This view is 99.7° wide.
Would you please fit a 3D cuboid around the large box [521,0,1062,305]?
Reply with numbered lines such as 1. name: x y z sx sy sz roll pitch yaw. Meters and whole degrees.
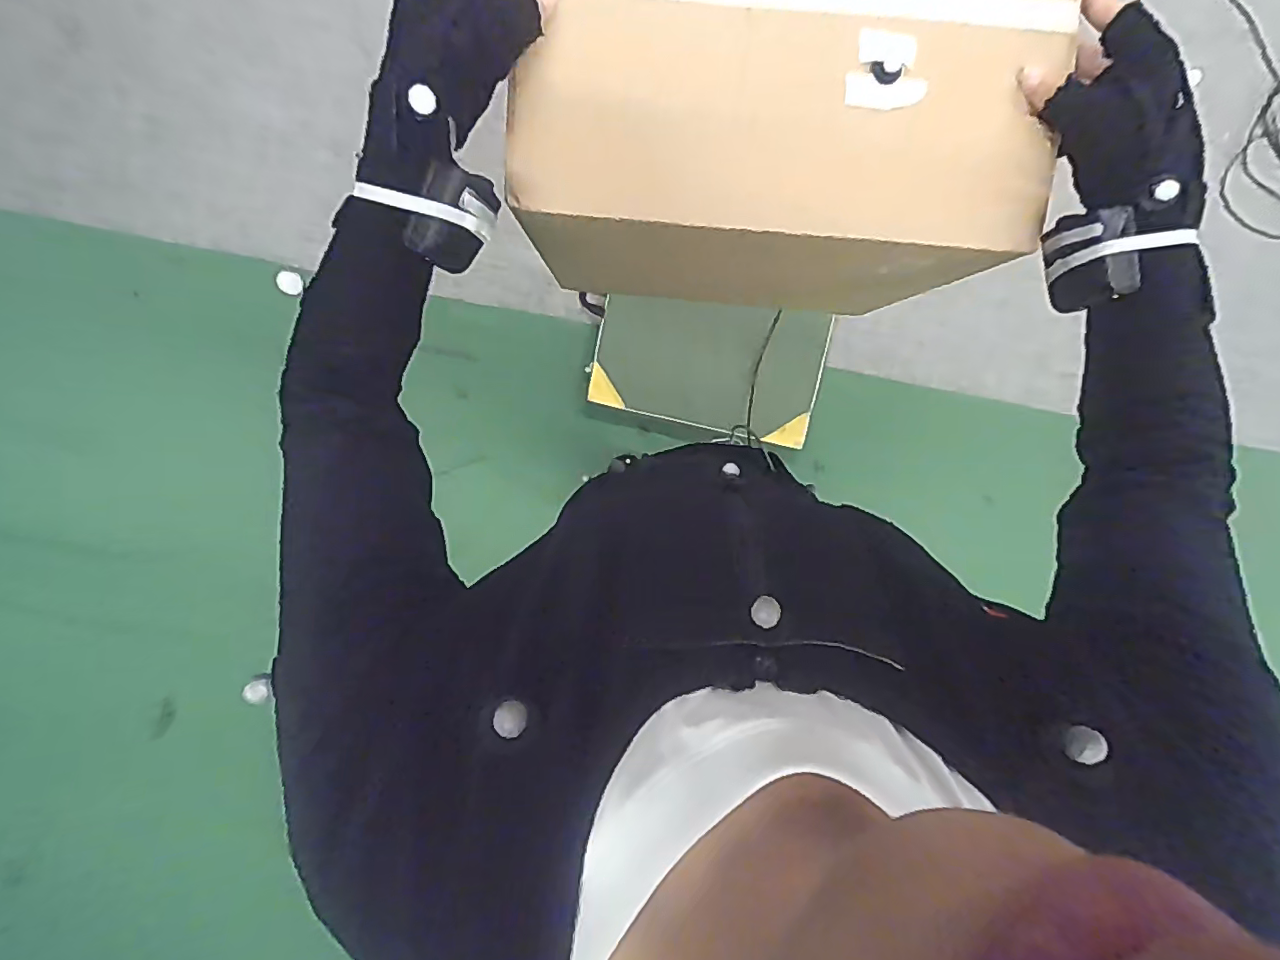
1. large box: 0.107 -0.369 0.543 0.408 0.320 0.320 3 99 -3
